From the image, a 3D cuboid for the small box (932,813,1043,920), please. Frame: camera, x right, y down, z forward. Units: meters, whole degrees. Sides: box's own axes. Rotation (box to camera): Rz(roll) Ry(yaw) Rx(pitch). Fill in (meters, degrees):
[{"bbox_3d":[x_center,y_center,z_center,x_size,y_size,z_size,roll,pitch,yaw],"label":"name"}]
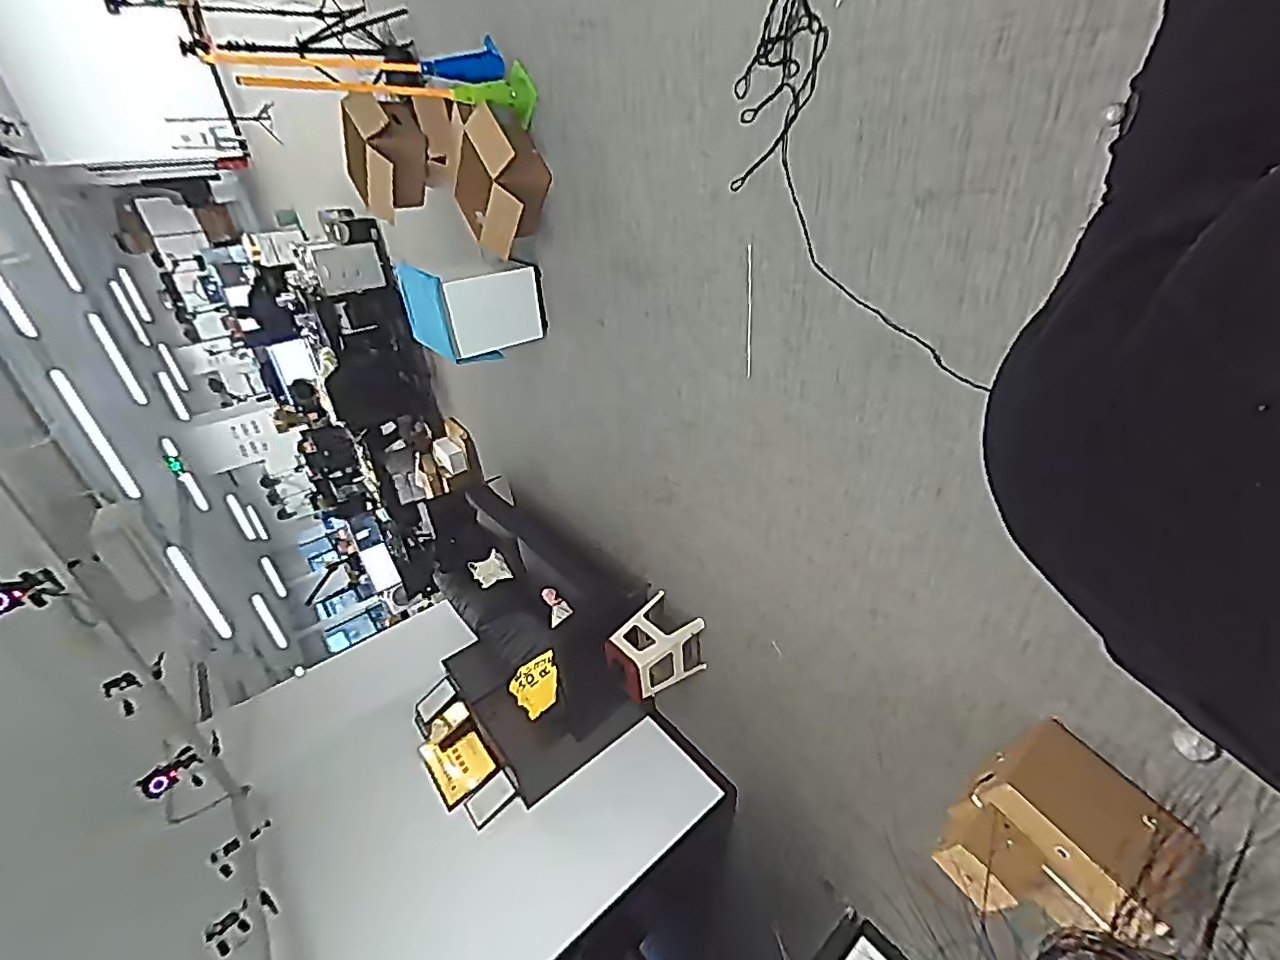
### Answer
[{"bbox_3d":[0.964,1.070,1.499,0.168,0.176,0.179,45,145,30],"label":"small box"}]
